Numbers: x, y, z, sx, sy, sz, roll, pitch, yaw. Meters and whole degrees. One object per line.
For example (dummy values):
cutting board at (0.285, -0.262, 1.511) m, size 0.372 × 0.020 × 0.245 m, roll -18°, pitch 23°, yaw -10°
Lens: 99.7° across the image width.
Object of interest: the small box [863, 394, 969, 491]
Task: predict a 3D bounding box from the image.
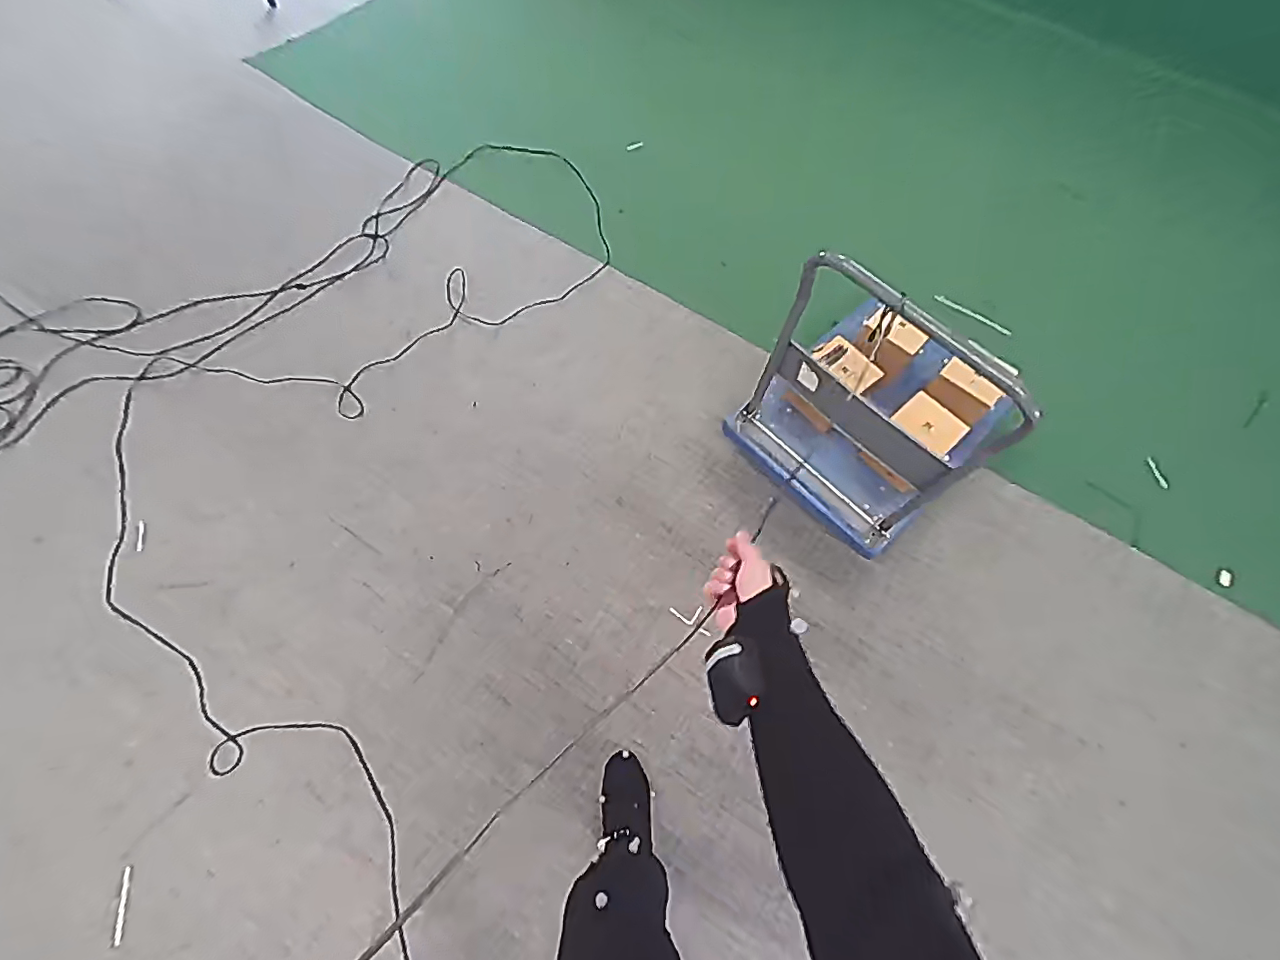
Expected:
small box at (0.763, -0.102, 1.517) m, size 0.179 × 0.176 × 0.168 m, roll -39°, pitch 72°, yaw -19°

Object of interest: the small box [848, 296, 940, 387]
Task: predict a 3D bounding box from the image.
small box at (0.774, -0.422, 1.673) m, size 0.168 × 0.176 × 0.179 m, roll 41°, pitch 68°, yaw 15°

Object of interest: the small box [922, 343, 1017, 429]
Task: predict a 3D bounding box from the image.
small box at (0.959, -0.265, 1.607) m, size 0.168 × 0.176 × 0.179 m, roll 40°, pitch 69°, yaw 16°
